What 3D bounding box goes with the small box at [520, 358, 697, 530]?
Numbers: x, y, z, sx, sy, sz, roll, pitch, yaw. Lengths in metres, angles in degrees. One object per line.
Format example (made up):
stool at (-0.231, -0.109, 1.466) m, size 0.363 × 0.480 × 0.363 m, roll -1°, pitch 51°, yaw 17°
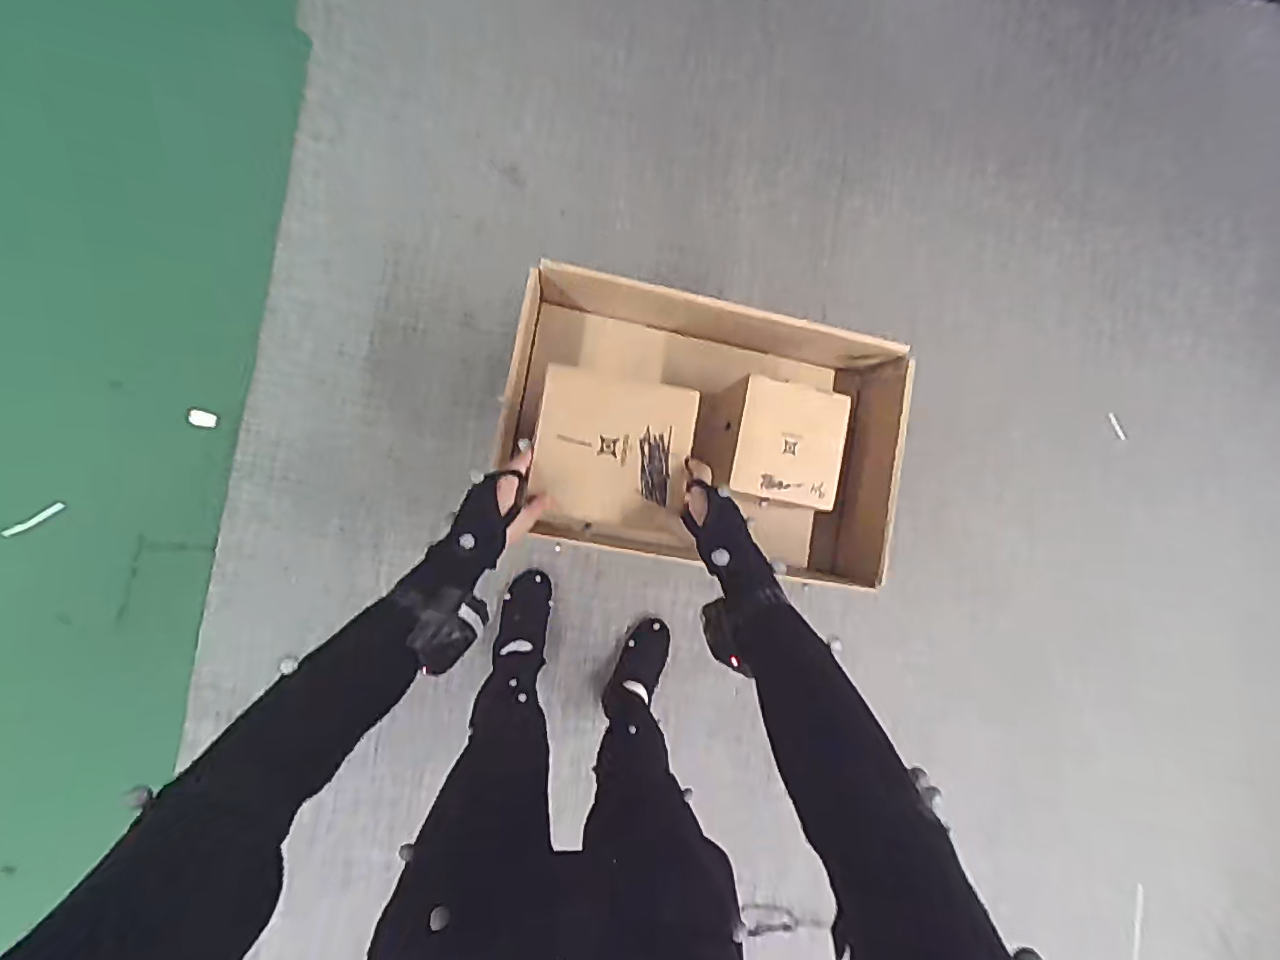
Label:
small box at (-0.047, -0.032, 0.674) m, size 0.179 × 0.176 × 0.168 m, roll 10°, pitch 81°, yaw -12°
